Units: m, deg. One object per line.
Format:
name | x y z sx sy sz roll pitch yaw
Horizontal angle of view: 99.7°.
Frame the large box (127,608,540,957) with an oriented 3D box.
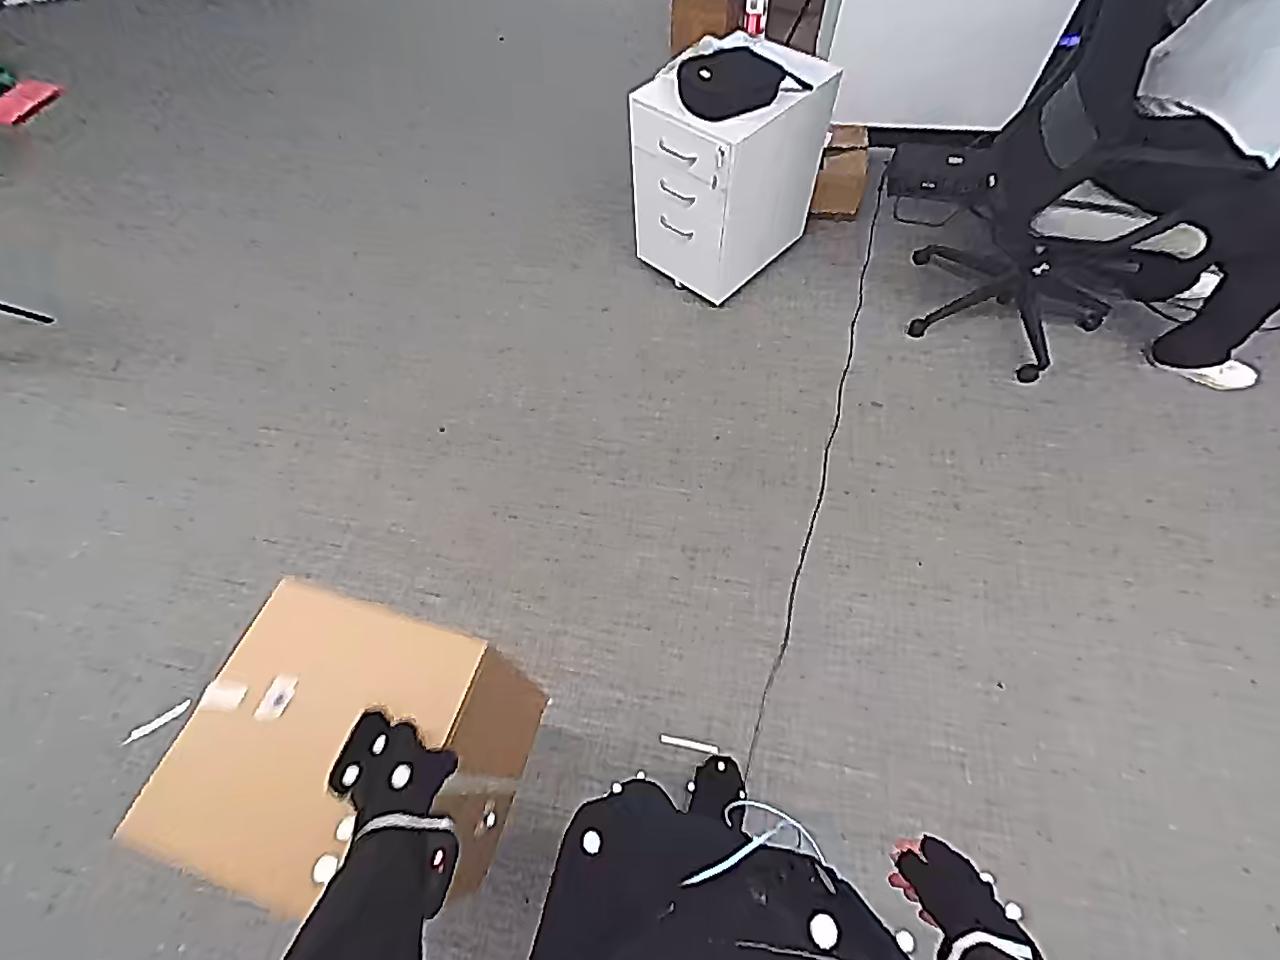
large box | -0.380 0.418 0.806 0.320 0.408 0.320 12 61 10
